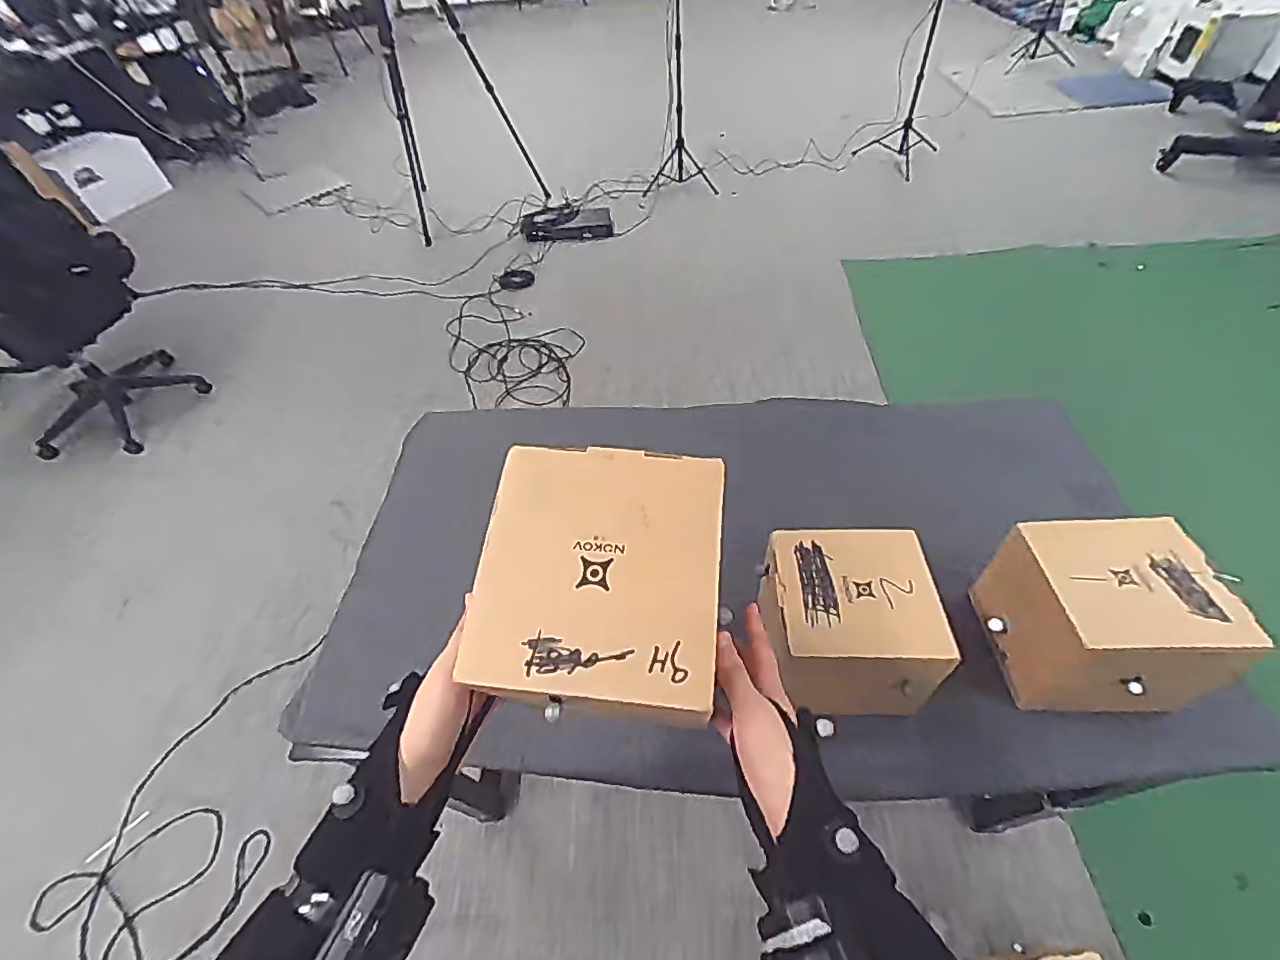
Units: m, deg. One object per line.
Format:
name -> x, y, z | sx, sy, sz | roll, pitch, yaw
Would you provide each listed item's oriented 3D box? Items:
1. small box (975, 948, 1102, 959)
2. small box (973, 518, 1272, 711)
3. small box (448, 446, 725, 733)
small box -> 0.725, 0.941, 0.937 | 0.168, 0.176, 0.179 | -8, 51, -1
small box -> 0.538, 0.161, 0.641 | 0.179, 0.176, 0.168 | -2, 47, 6
small box -> -0.024, 0.094, 0.434 | 0.168, 0.176, 0.179 | 4, 63, 8
